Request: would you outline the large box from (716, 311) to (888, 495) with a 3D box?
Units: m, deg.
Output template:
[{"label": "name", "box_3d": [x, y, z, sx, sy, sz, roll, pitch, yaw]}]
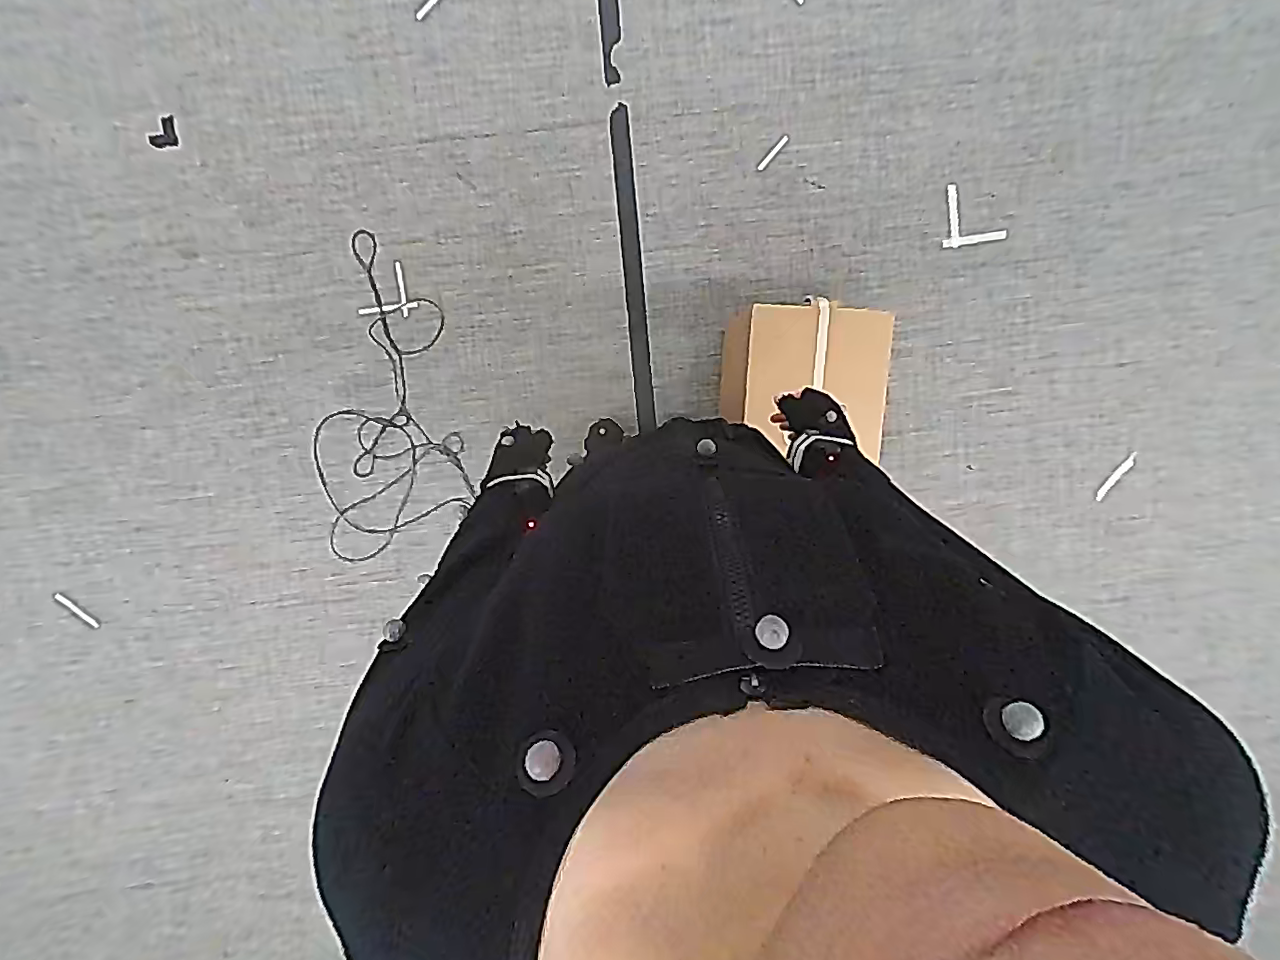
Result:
[{"label": "large box", "box_3d": [0.377, -0.188, 1.348, 0.320, 0.320, 0.408, 2, 98, -3]}]
